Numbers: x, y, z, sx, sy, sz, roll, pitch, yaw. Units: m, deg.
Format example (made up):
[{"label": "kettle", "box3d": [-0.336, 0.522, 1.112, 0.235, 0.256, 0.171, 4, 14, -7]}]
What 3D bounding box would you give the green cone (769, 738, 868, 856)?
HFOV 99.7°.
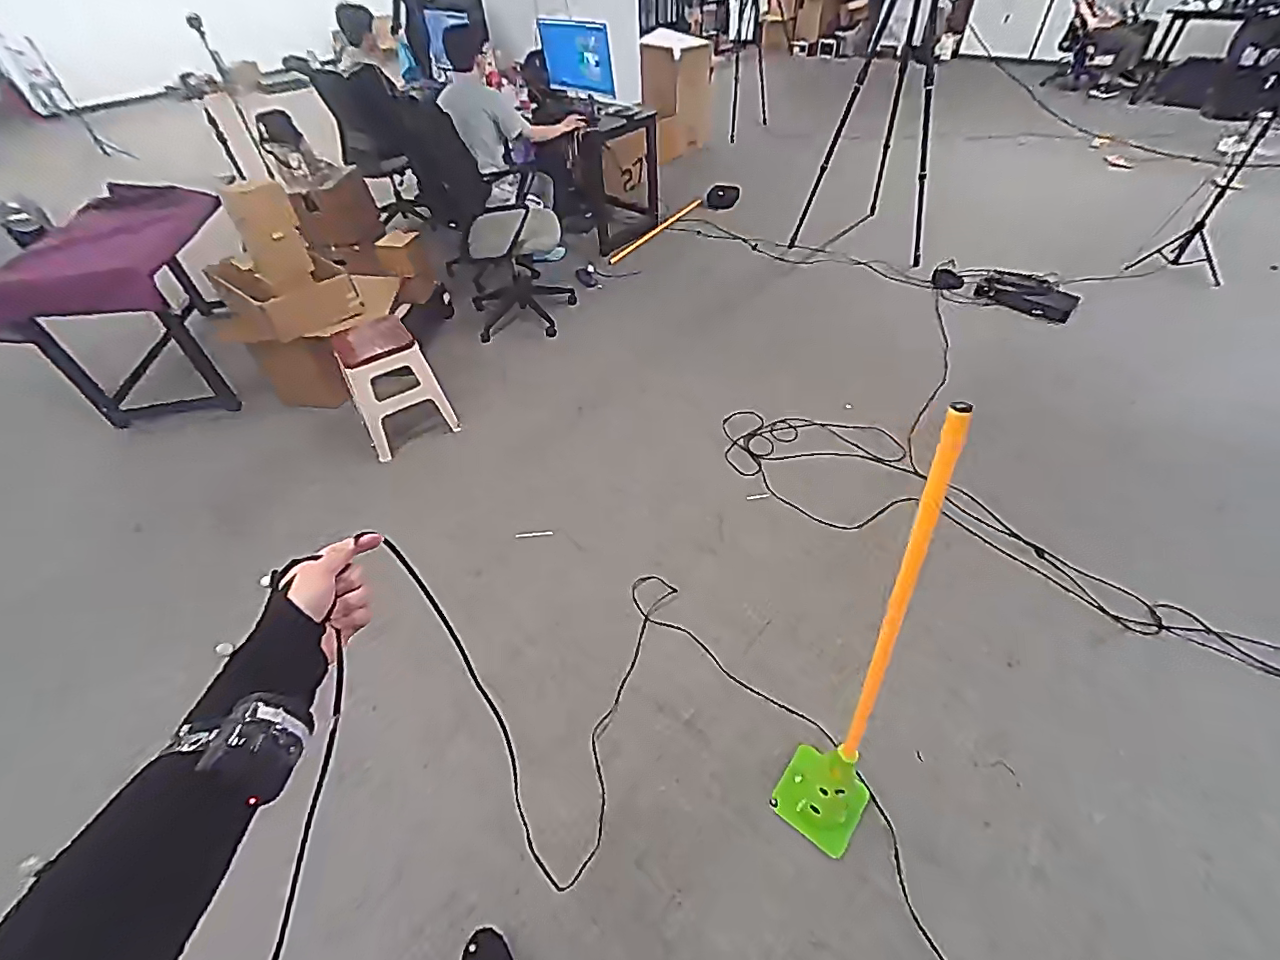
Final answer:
[{"label": "green cone", "box3d": [0.456, 0.698, 1.272, 0.200, 0.368, 0.202, 29, 53, 27]}]
